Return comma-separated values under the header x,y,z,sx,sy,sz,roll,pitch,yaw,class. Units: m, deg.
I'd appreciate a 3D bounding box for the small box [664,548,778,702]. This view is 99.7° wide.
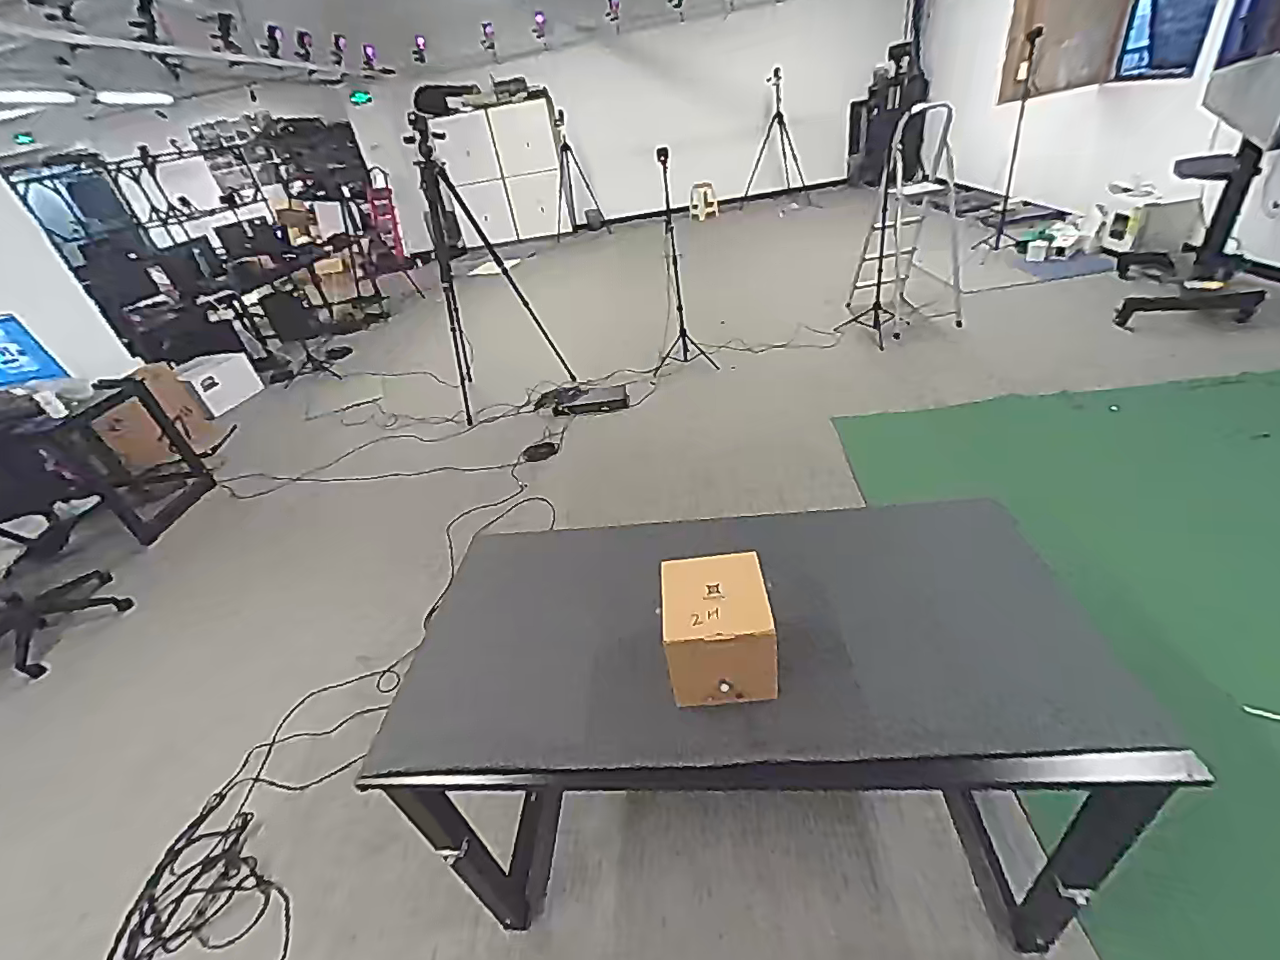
x,y,z,sx,sy,sz,roll,pitch,yaw,class
0.131,0.238,0.895,0.168,0.176,0.179,-7,33,6,small box
